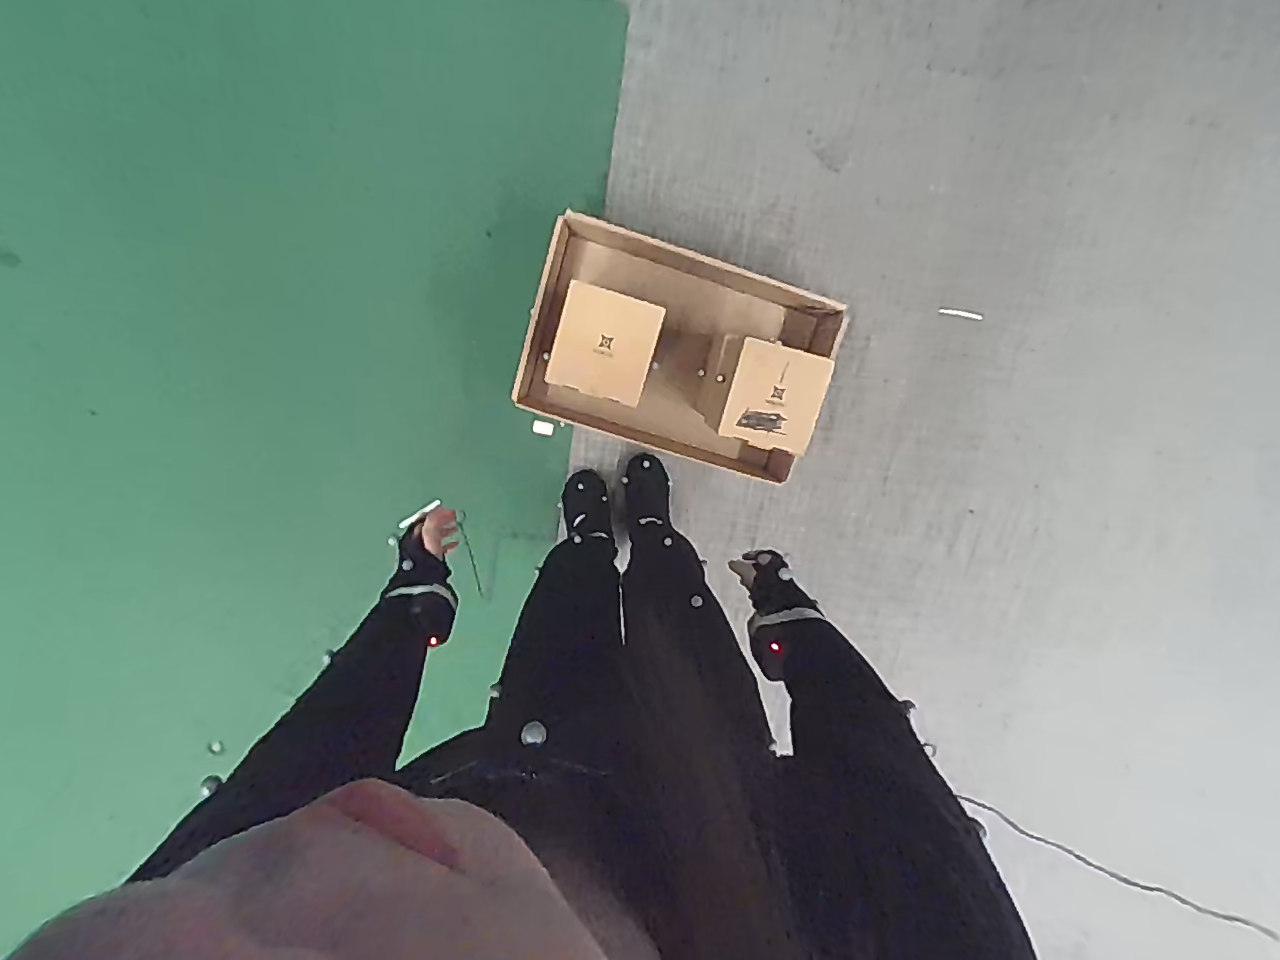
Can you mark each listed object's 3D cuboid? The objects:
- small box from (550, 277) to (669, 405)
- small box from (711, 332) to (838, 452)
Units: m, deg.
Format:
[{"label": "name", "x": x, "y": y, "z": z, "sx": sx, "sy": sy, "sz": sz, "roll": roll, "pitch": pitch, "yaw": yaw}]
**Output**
[{"label": "small box", "x": -0.057, "y": -0.251, "z": 0.987, "sx": 0.168, "sy": 0.176, "sz": 0.179, "roll": 15, "pitch": 103, "yaw": -6}, {"label": "small box", "x": 0.238, "y": -0.168, "z": 1.013, "sx": 0.168, "sy": 0.176, "sz": 0.179, "roll": 14, "pitch": 102, "yaw": -5}]
